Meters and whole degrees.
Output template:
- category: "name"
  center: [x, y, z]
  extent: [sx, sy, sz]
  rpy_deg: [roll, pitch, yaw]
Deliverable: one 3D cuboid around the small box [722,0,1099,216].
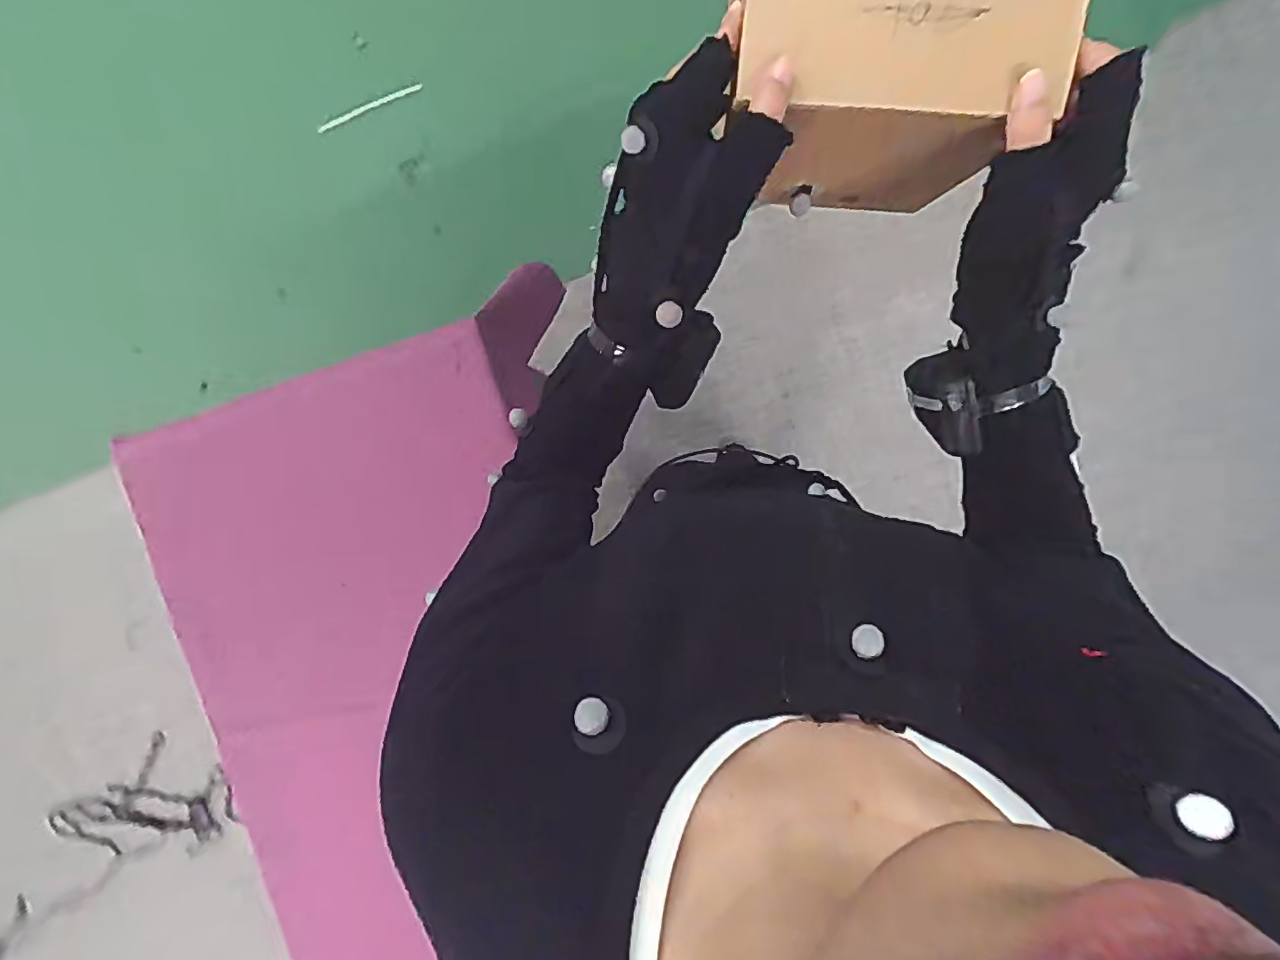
- category: "small box"
  center: [0.146, -0.285, 0.334]
  extent: [0.168, 0.176, 0.179]
  rpy_deg: [5, 102, 3]
